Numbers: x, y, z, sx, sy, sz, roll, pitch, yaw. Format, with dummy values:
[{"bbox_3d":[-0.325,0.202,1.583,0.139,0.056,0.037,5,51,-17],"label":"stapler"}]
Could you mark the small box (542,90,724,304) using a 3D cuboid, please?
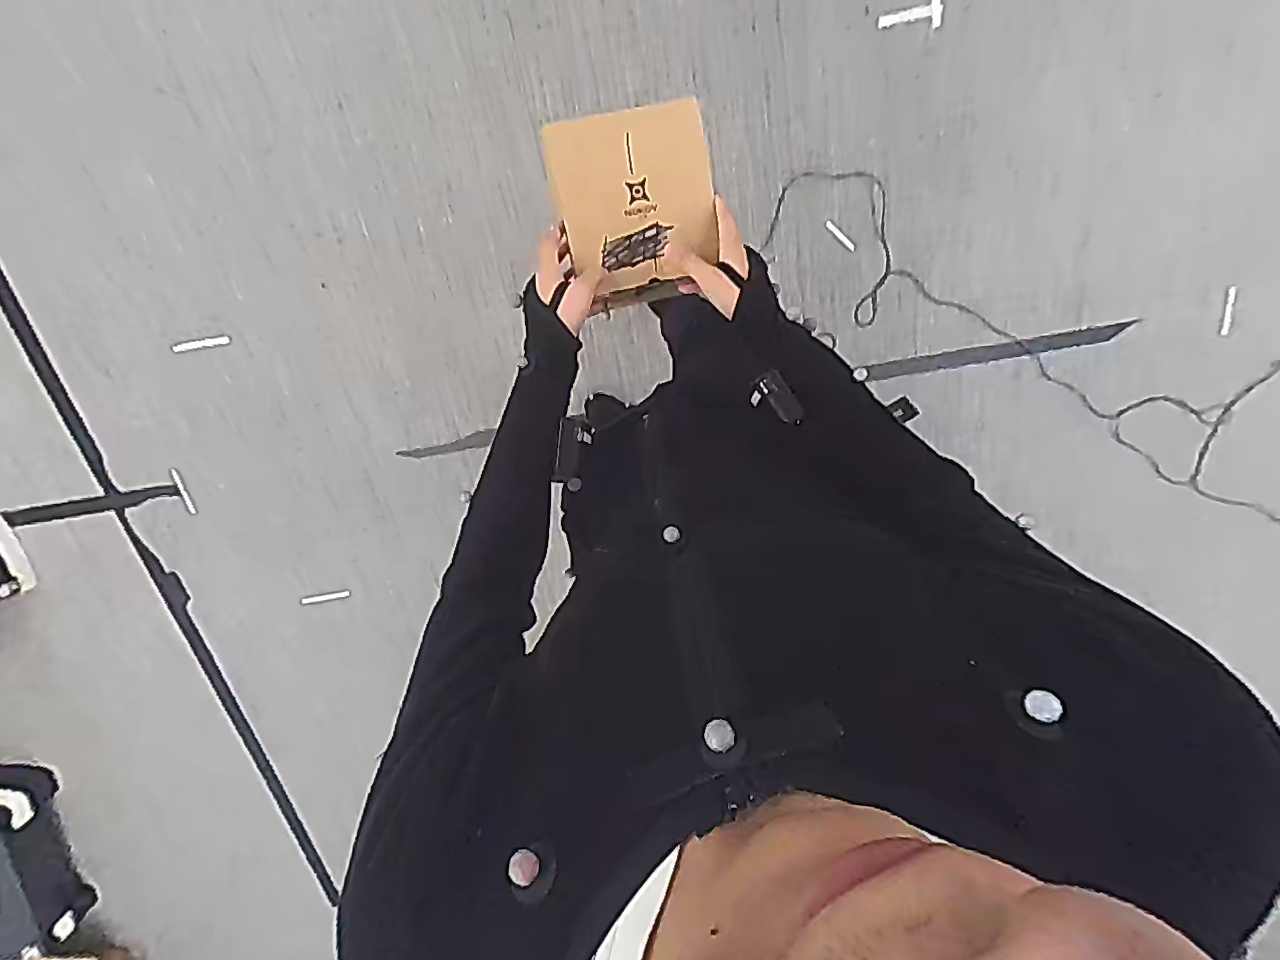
[{"bbox_3d":[-0.012,-0.315,0.643,0.168,0.176,0.179,-14,102,-4],"label":"small box"}]
